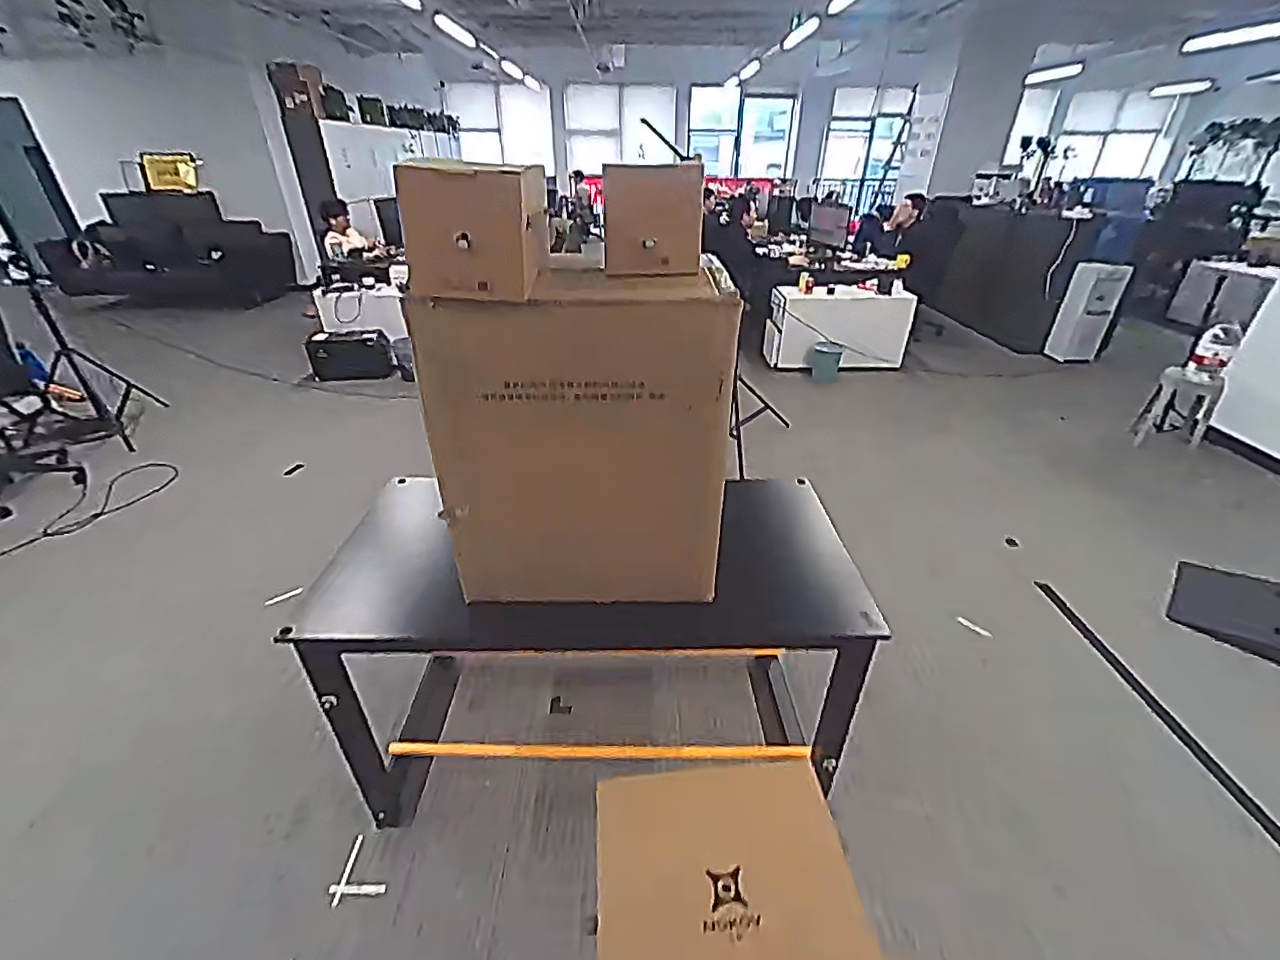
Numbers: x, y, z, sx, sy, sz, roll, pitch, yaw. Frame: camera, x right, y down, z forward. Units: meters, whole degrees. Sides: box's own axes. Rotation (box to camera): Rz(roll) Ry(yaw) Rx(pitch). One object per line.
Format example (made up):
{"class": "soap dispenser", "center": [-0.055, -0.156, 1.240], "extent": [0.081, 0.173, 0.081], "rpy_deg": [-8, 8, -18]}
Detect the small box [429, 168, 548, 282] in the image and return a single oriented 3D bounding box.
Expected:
{"class": "small box", "center": [-0.261, -0.464, 0.978], "extent": [0.168, 0.176, 0.179], "rpy_deg": [-1, 31, -2]}

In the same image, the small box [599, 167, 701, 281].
{"class": "small box", "center": [0.014, -0.458, 0.964], "extent": [0.168, 0.176, 0.179], "rpy_deg": [-3, 30, -2]}

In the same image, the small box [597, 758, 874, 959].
{"class": "small box", "center": [0.058, 0.336, 0.386], "extent": [0.168, 0.176, 0.179], "rpy_deg": [-6, 31, -1]}
